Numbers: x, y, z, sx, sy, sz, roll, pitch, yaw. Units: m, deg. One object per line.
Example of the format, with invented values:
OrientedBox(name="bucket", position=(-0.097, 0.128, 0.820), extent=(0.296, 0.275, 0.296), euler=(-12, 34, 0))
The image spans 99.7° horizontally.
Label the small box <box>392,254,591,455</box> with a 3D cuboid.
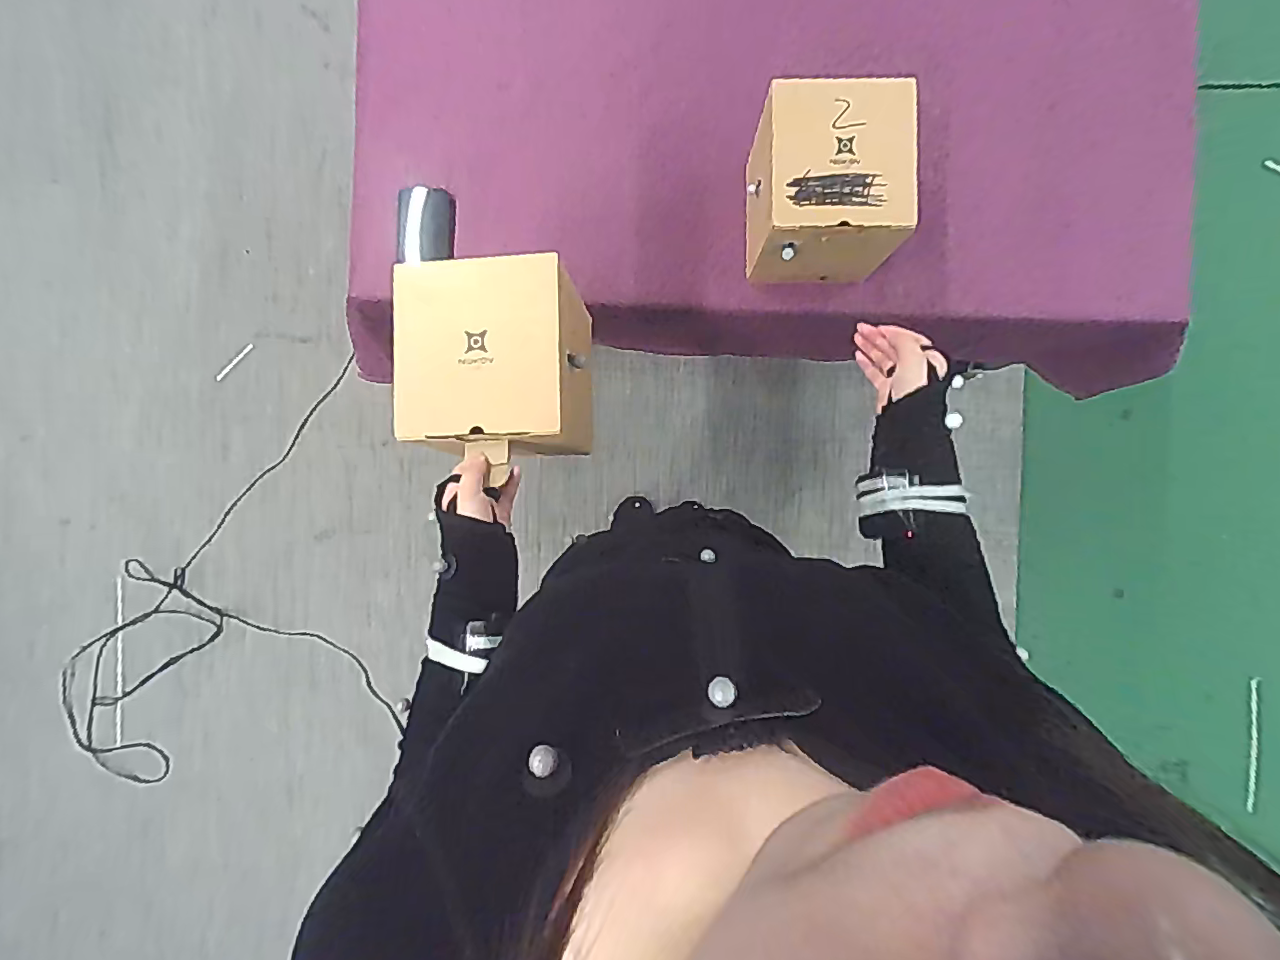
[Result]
OrientedBox(name="small box", position=(-0.149, -0.123, 0.592), extent=(0.168, 0.176, 0.179), euler=(-1, 87, 4))
